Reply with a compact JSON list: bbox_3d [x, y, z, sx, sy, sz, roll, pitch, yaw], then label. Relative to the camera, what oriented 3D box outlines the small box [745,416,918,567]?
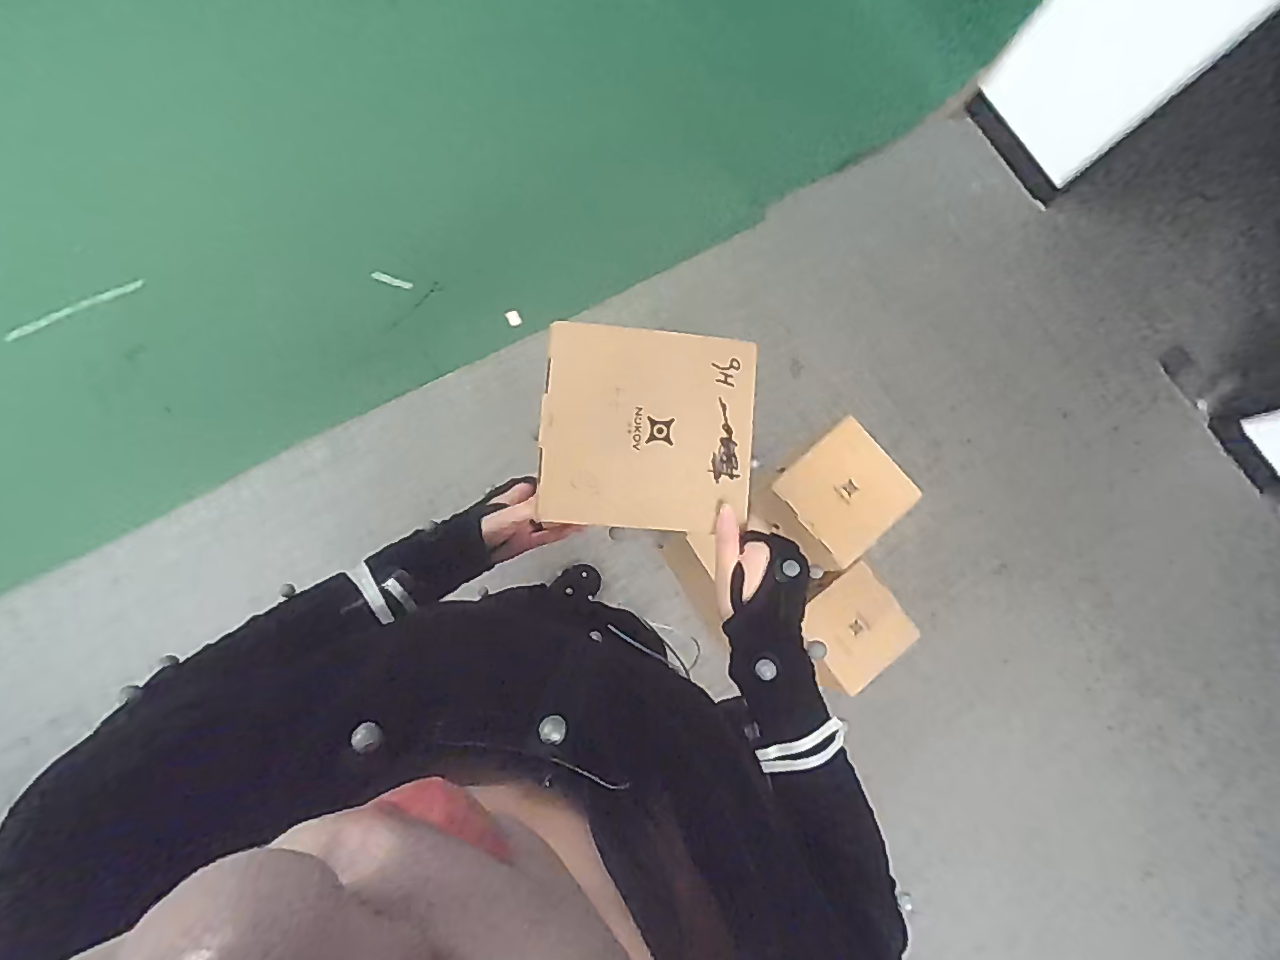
[{"bbox_3d":[0.303,0.026,0.895,0.179,0.176,0.168,-39,87,-10],"label":"small box"}]
